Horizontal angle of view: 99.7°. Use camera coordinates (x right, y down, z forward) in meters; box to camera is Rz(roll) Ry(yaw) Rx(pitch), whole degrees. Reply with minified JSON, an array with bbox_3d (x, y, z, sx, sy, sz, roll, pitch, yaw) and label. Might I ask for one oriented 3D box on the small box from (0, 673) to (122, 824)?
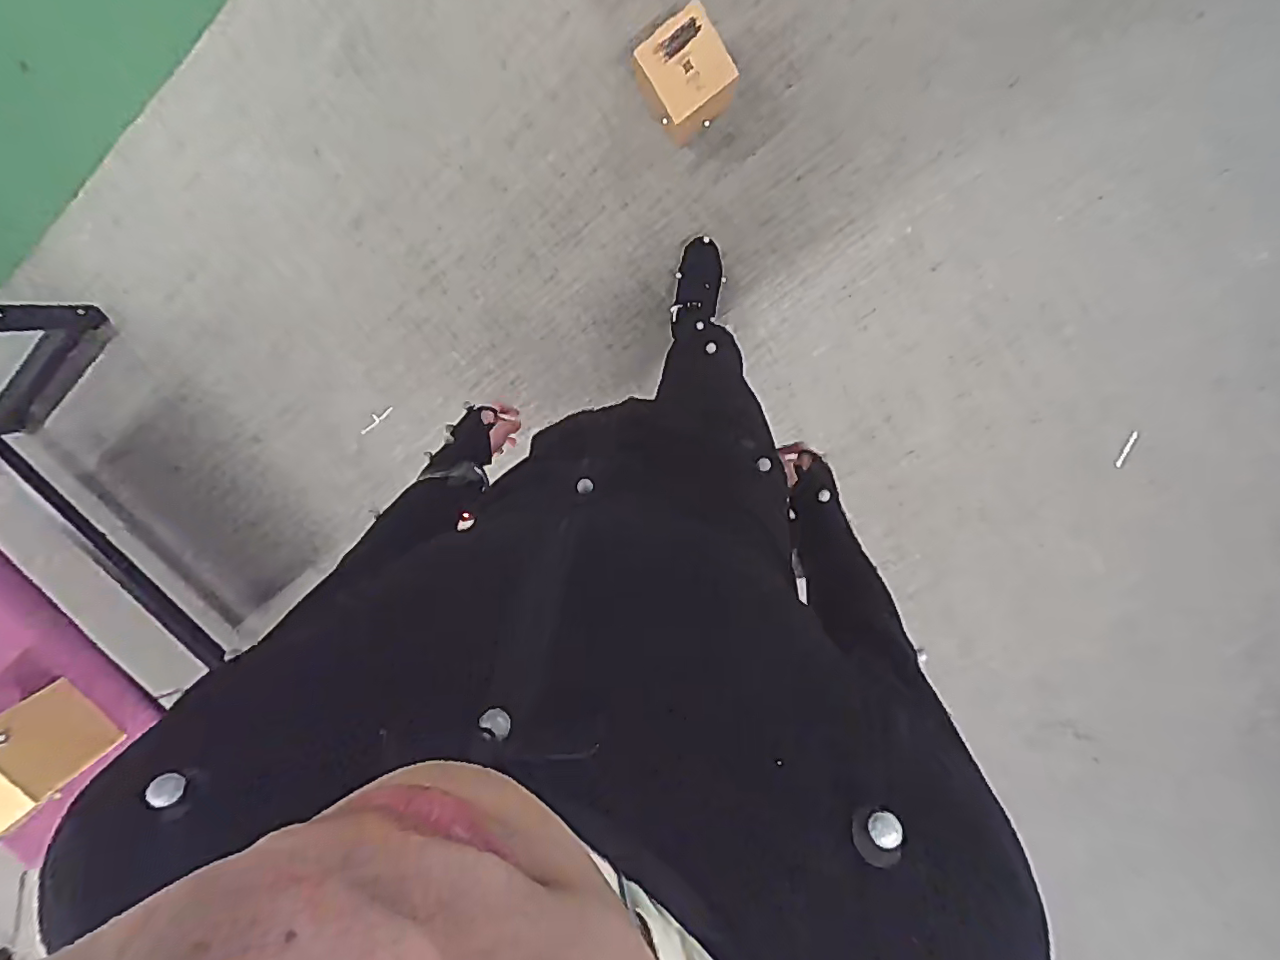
[{"bbox_3d":[-1.195,0.520,1.062,0.168,0.176,0.179,-34,101,17],"label":"small box"}]
